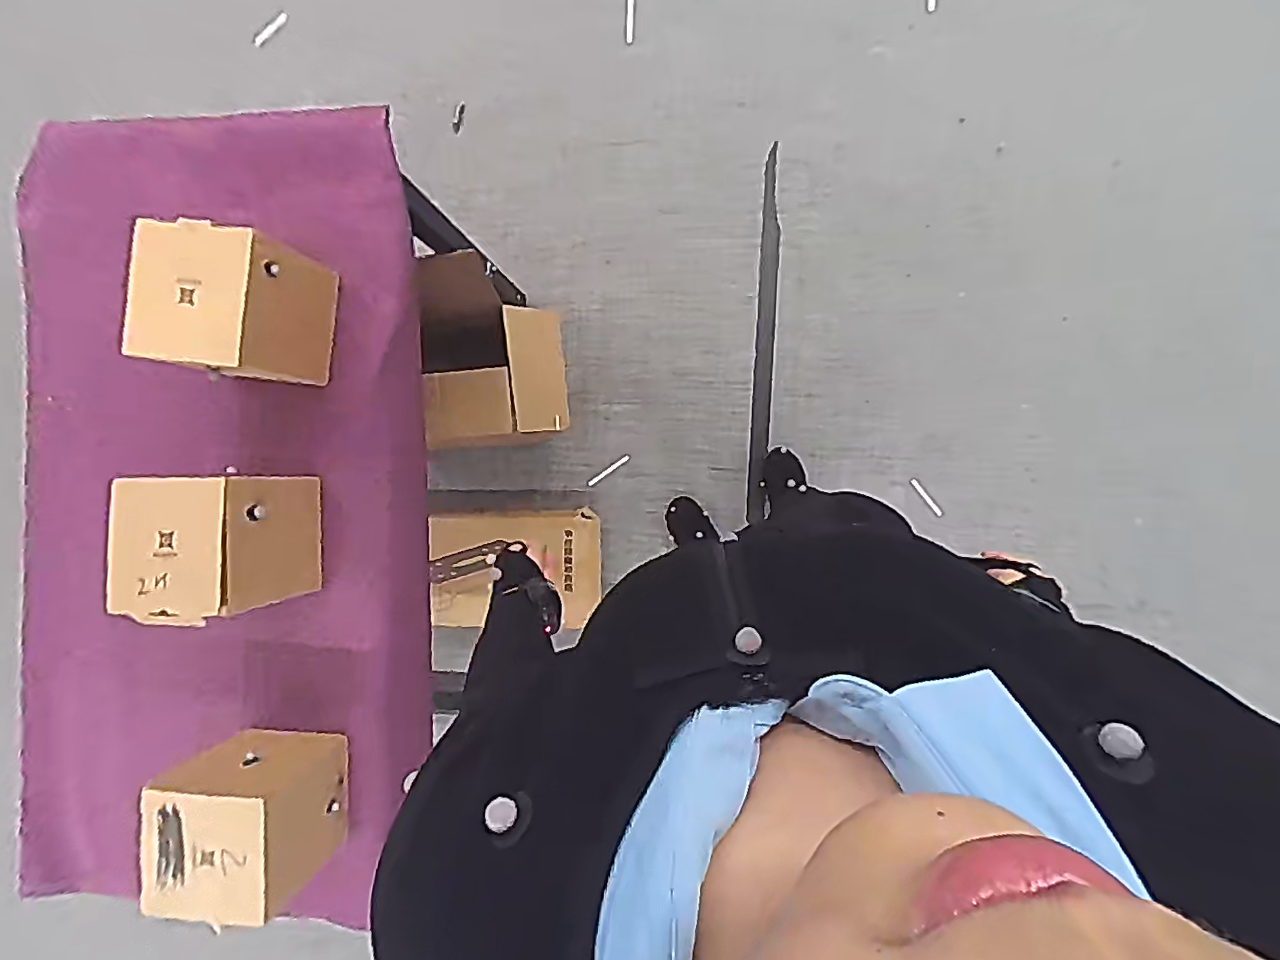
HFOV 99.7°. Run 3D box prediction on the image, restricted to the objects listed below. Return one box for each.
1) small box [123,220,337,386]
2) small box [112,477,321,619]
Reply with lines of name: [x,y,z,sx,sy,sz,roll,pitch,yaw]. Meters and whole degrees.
small box: [-0.554,-0.233,0.752,0.168,0.176,0.179,7,91,6]
small box: [-0.577,0.085,0.757,0.168,0.176,0.179,0,91,8]
